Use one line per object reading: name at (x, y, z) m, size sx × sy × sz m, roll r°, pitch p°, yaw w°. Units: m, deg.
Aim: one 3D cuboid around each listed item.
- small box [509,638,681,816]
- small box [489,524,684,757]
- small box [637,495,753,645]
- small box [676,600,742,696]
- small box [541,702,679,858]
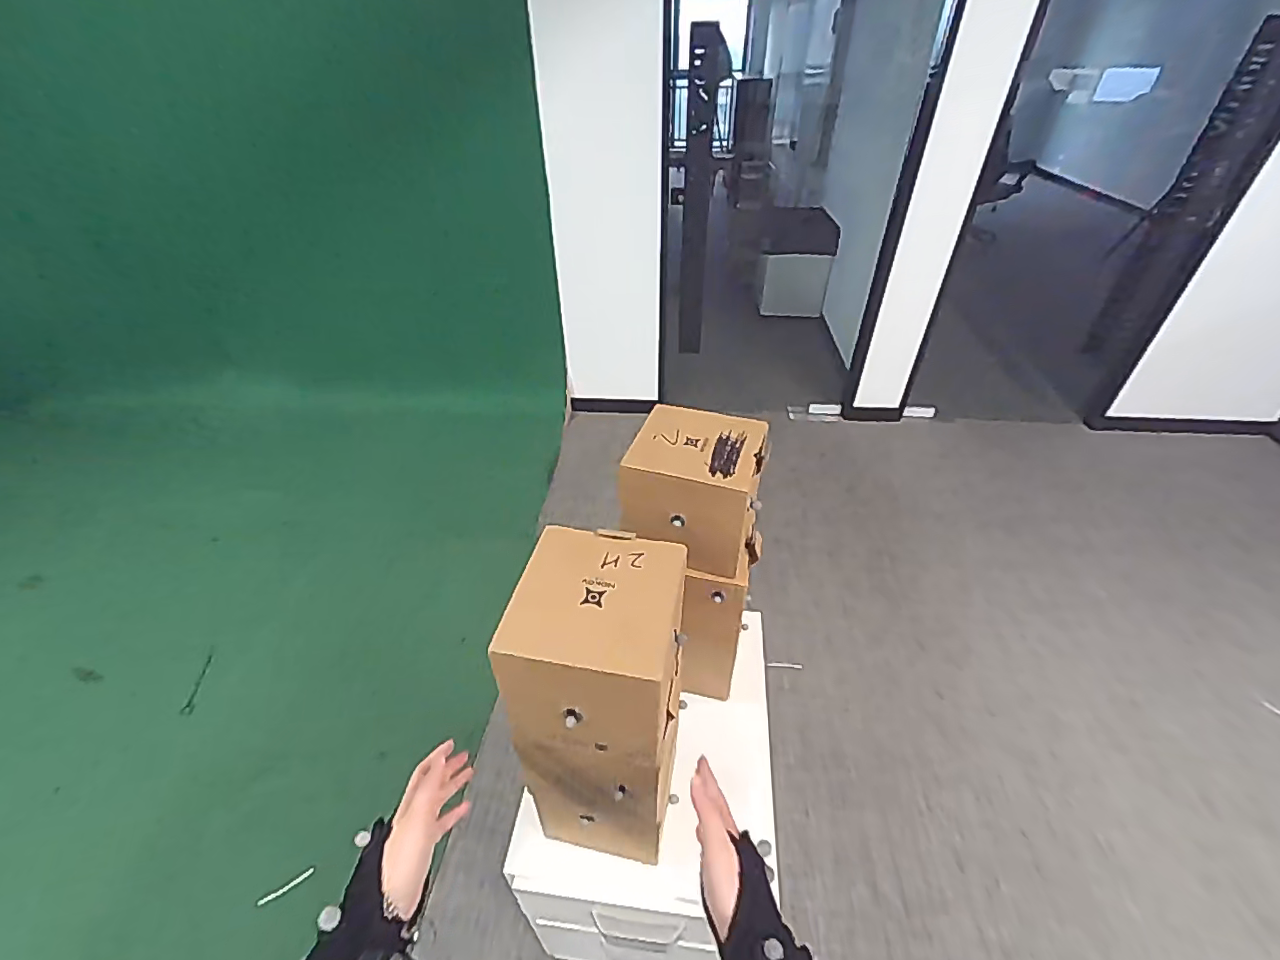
small box at (-0.047, 0.308, 0.706) m, size 0.179 × 0.176 × 0.168 m, roll 7°, pitch 38°, yaw 10°
small box at (-0.046, 0.177, 0.605) m, size 0.168 × 0.176 × 0.179 m, roll 8°, pitch 38°, yaw 8°
small box at (0.085, 0.150, 0.897) m, size 0.179 × 0.176 × 0.168 m, roll 9°, pitch 41°, yaw 10°
small box at (0.091, 0.274, 1.003) m, size 0.179 × 0.176 × 0.168 m, roll 8°, pitch 41°, yaw 11°
small box at (-0.044, 0.432, 0.810) m, size 0.179 × 0.176 × 0.168 m, roll 9°, pitch 40°, yaw 9°
